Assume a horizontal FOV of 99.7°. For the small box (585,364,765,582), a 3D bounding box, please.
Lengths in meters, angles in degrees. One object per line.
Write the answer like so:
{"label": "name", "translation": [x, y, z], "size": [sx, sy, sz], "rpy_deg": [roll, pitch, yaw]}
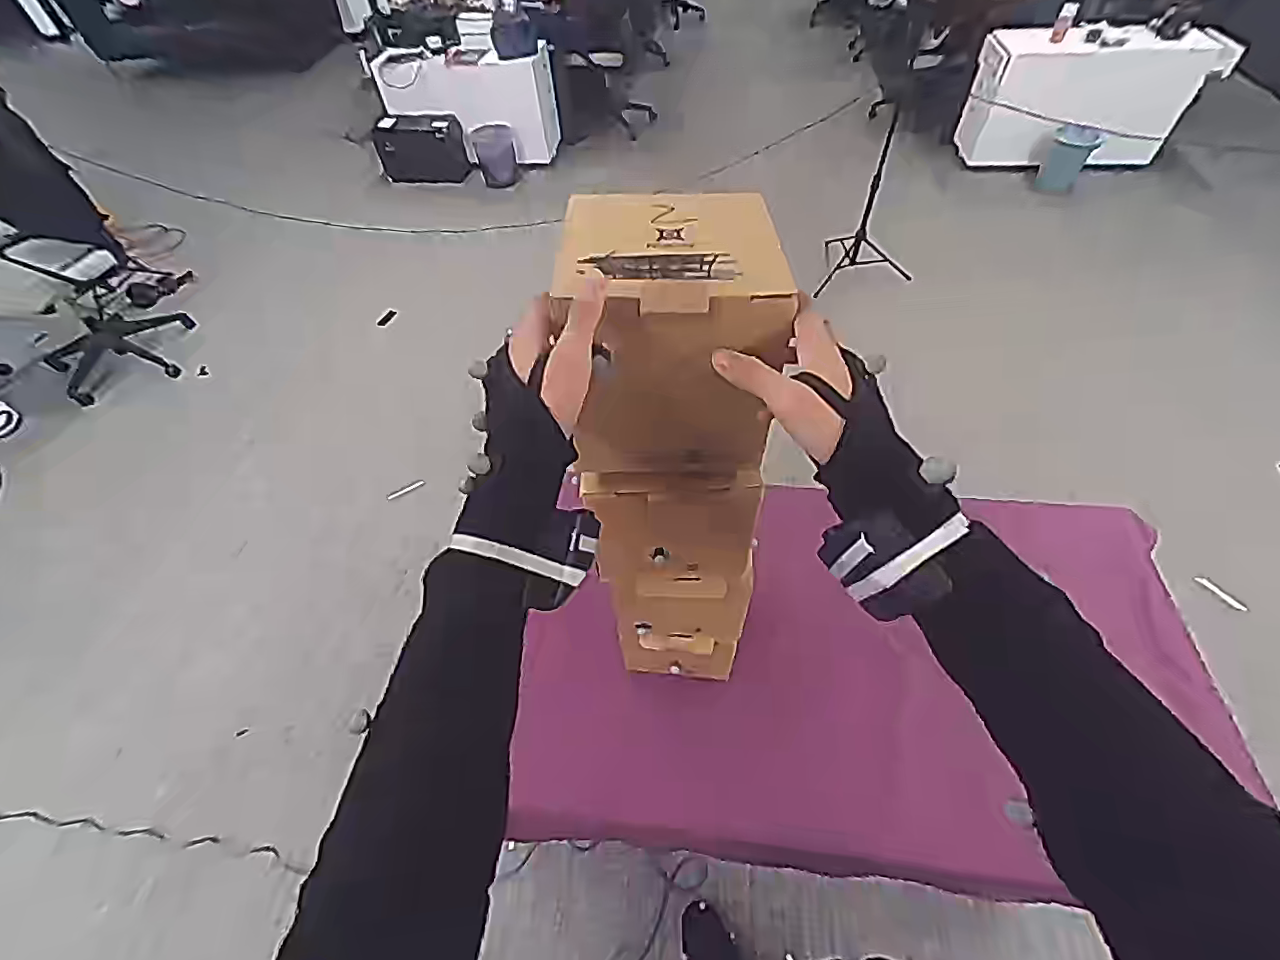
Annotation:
{"label": "small box", "translation": [0.033, -0.005, 0.596], "size": [0.168, 0.176, 0.179], "rpy_deg": [-3, 53, 1]}

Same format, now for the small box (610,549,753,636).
{"label": "small box", "translation": [0.057, 0.096, 0.722], "size": [0.168, 0.176, 0.179], "rpy_deg": [0, 52, 4]}

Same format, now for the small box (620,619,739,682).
{"label": "small box", "translation": [0.067, 0.197, 0.851], "size": [0.168, 0.176, 0.179], "rpy_deg": [3, 53, 7]}
